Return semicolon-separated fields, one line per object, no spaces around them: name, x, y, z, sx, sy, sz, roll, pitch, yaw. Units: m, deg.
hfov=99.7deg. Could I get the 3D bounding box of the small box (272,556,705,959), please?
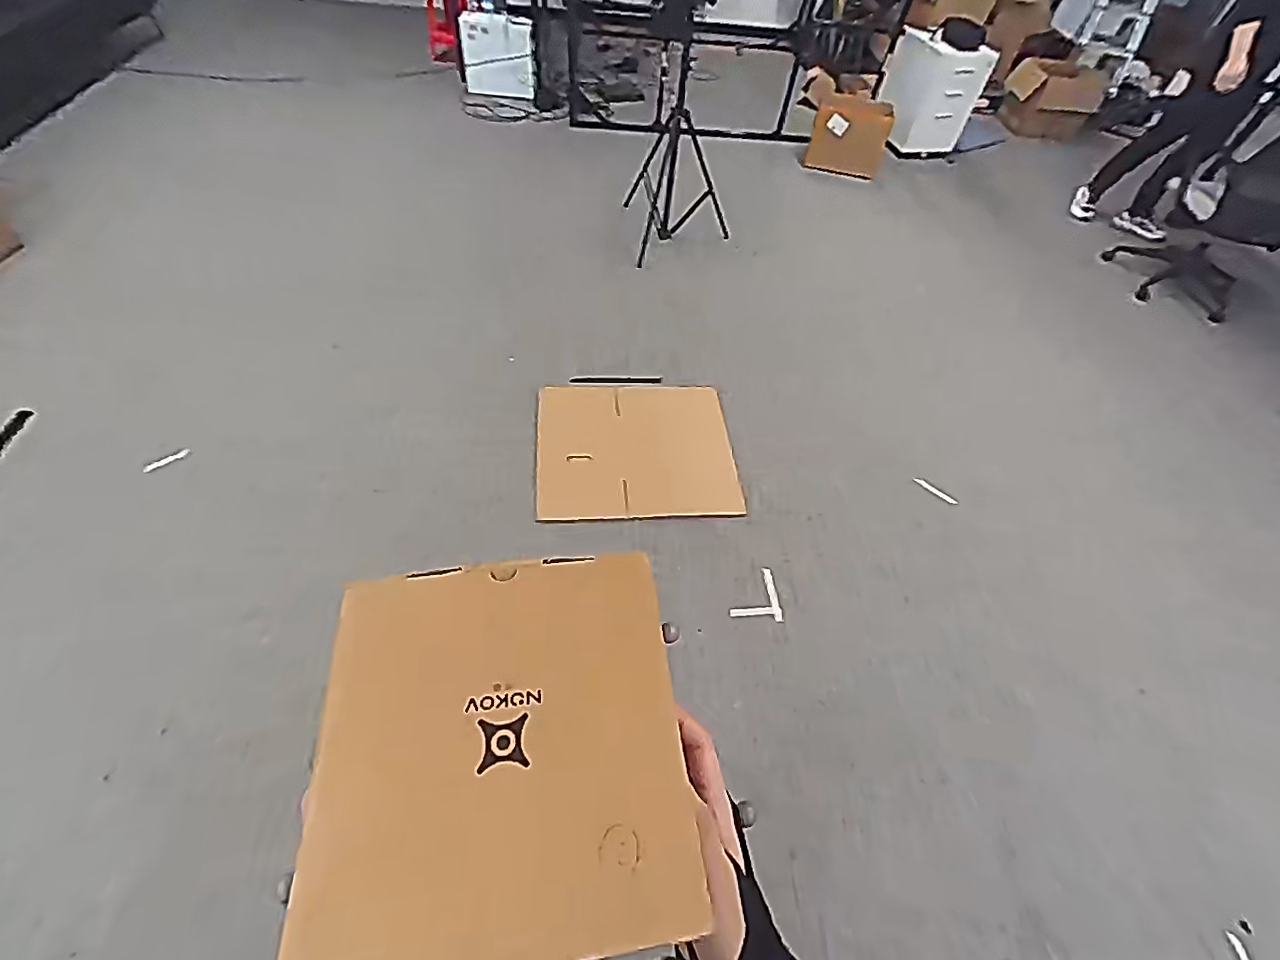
small box;-0.068;0.165;0.313;0.168;0.176;0.179;-3;53;-8
